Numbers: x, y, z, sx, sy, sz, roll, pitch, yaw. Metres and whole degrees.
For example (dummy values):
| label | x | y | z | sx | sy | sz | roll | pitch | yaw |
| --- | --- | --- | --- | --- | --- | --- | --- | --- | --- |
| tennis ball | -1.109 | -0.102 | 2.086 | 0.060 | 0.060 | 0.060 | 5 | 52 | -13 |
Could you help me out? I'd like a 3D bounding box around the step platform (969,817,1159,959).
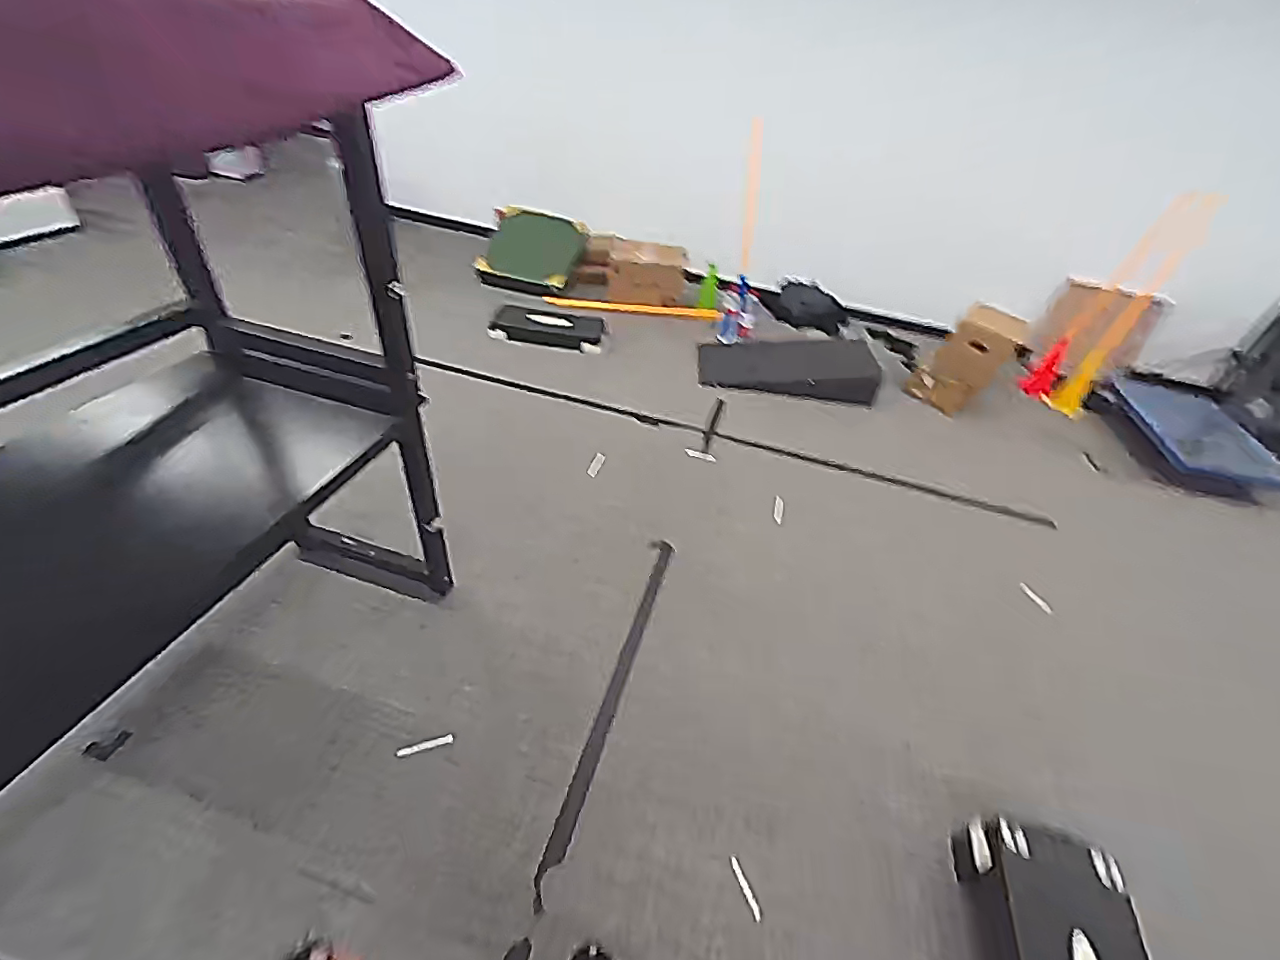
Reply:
| label | x | y | z | sx | sy | sz | roll | pitch | yaw |
| --- | --- | --- | --- | --- | --- | --- | --- | --- | --- |
| step platform | 0.861 | 1.073 | 1.070 | 0.286 | 0.204 | 0.684 | 20 | 40 | 13 |
